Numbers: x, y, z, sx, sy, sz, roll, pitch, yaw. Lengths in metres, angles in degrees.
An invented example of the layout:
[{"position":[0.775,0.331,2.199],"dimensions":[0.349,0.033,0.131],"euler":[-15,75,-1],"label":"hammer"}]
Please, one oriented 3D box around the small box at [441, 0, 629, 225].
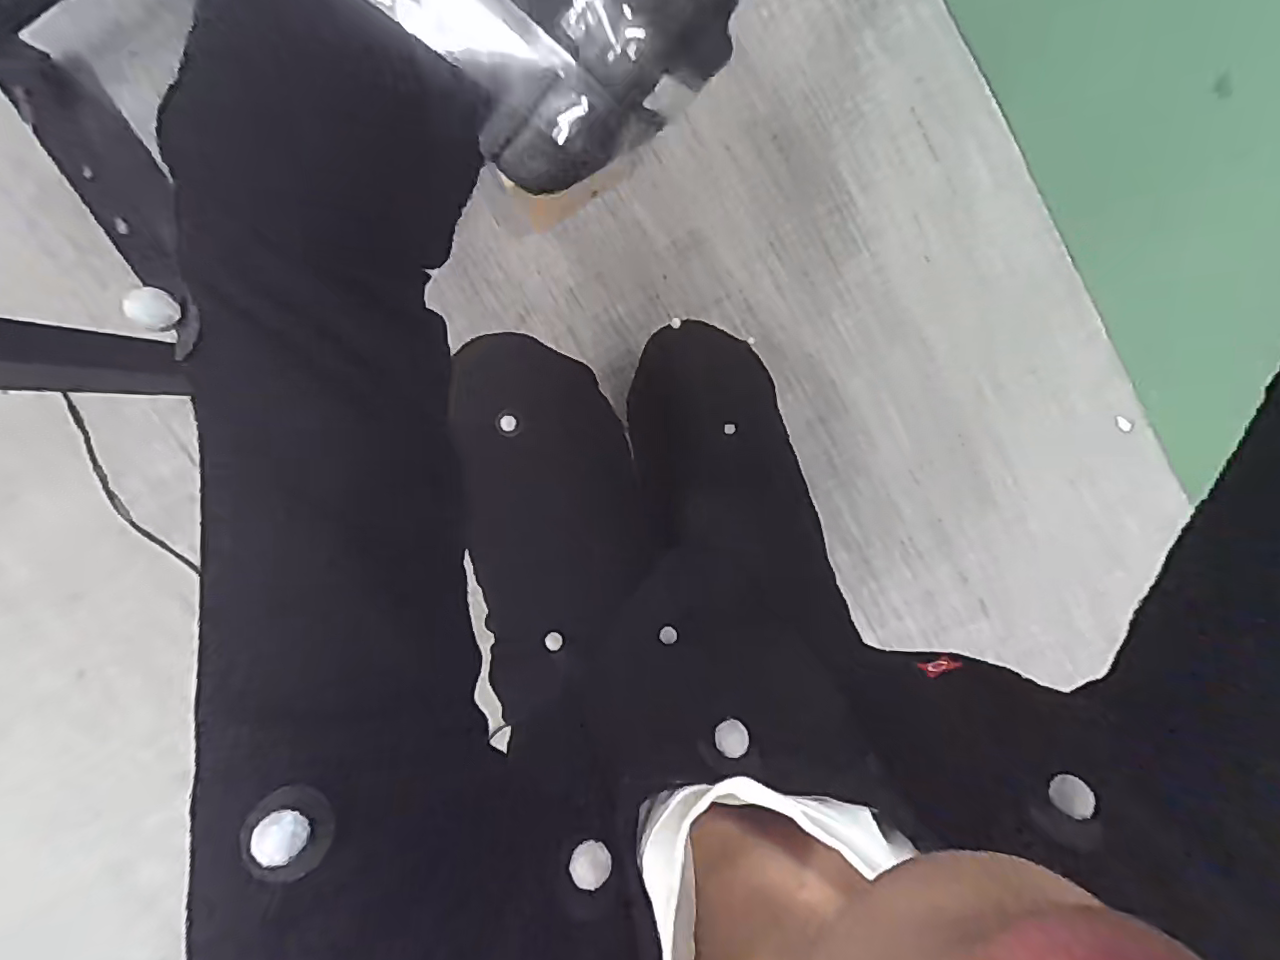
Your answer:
[{"position":[-0.128,-0.486,0.733],"dimensions":[0.168,0.176,0.179],"euler":[-29,94,6],"label":"small box"}]
